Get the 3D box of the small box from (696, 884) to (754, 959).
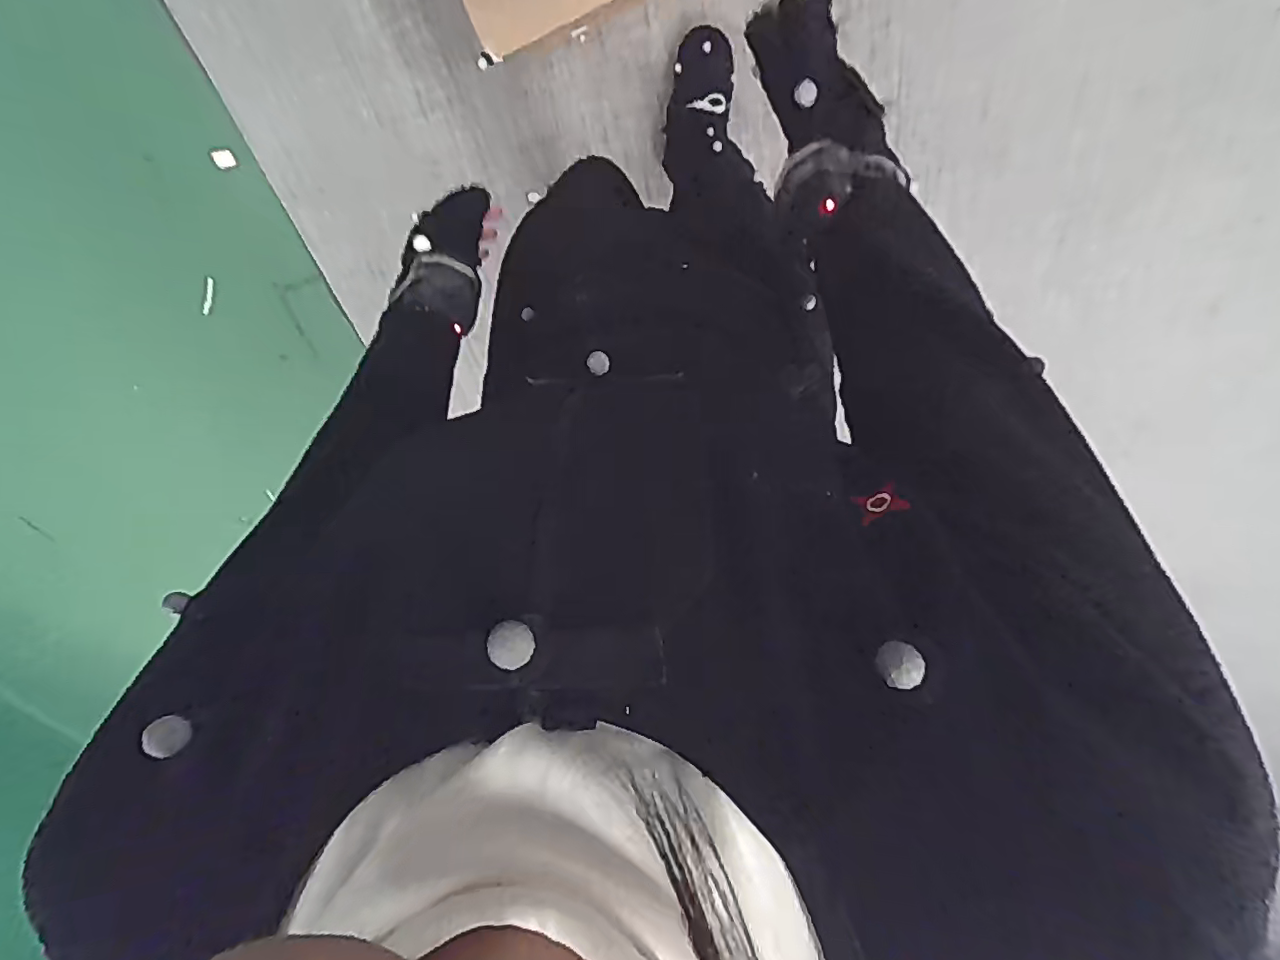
[{"bbox_3d":[0.291,1.516,1.861,0.179,0.176,0.168,-8,128,14],"label":"small box"}]
